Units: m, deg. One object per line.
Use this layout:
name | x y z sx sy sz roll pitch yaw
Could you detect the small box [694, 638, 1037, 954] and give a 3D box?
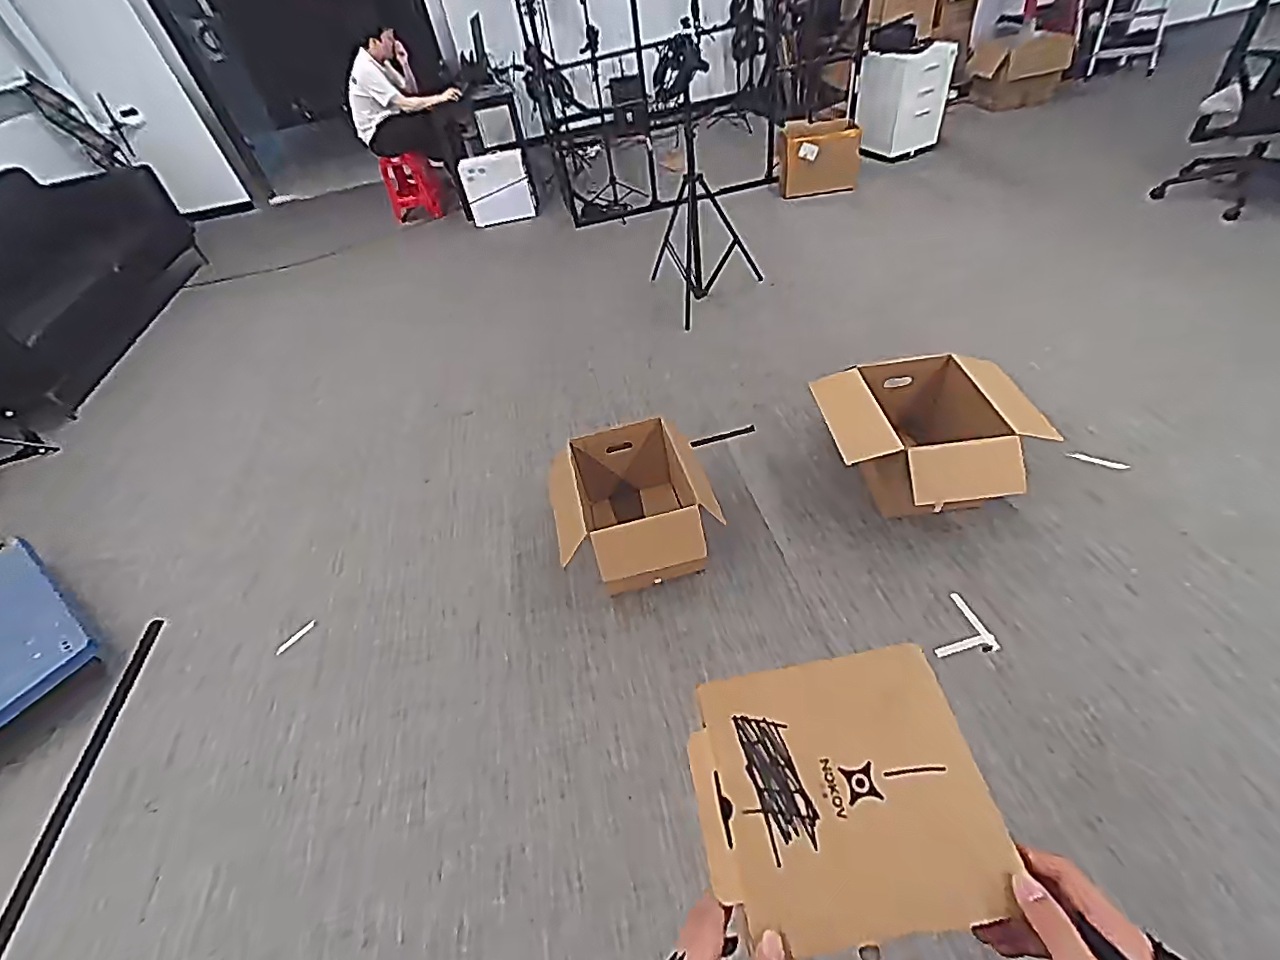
small box | 0.148 0.247 0.427 0.179 0.176 0.168 -11 54 0
